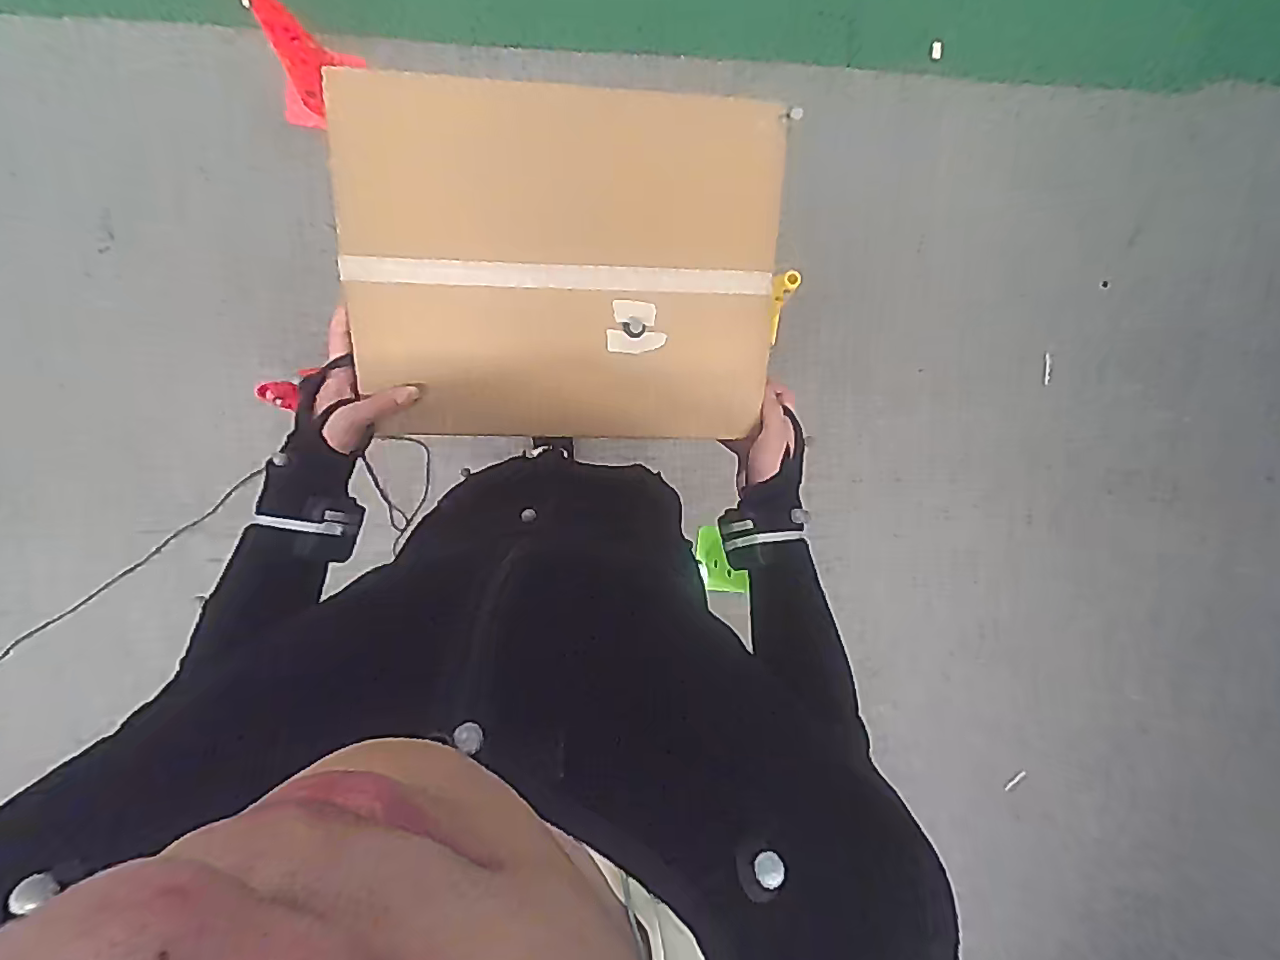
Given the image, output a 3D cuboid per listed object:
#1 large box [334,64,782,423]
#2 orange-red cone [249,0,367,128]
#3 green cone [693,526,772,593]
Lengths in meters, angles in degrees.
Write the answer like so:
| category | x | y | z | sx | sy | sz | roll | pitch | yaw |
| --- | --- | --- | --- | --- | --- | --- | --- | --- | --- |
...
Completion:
| category | x | y | z | sx | sy | sz | roll | pitch | yaw |
| --- | --- | --- | --- | --- | --- | --- | --- | --- | --- |
| large box | -0.084 | -0.249 | 0.662 | 0.408 | 0.320 | 0.320 | 0 | 107 | -6 |
| orange-red cone | -0.822 | -1.039 | 1.275 | 0.199 | 0.360 | 0.198 | 7 | 93 | -6 |
| green cone | 0.289 | 0.256 | 1.514 | 0.200 | 0.368 | 0.202 | 5 | 93 | -7 |
